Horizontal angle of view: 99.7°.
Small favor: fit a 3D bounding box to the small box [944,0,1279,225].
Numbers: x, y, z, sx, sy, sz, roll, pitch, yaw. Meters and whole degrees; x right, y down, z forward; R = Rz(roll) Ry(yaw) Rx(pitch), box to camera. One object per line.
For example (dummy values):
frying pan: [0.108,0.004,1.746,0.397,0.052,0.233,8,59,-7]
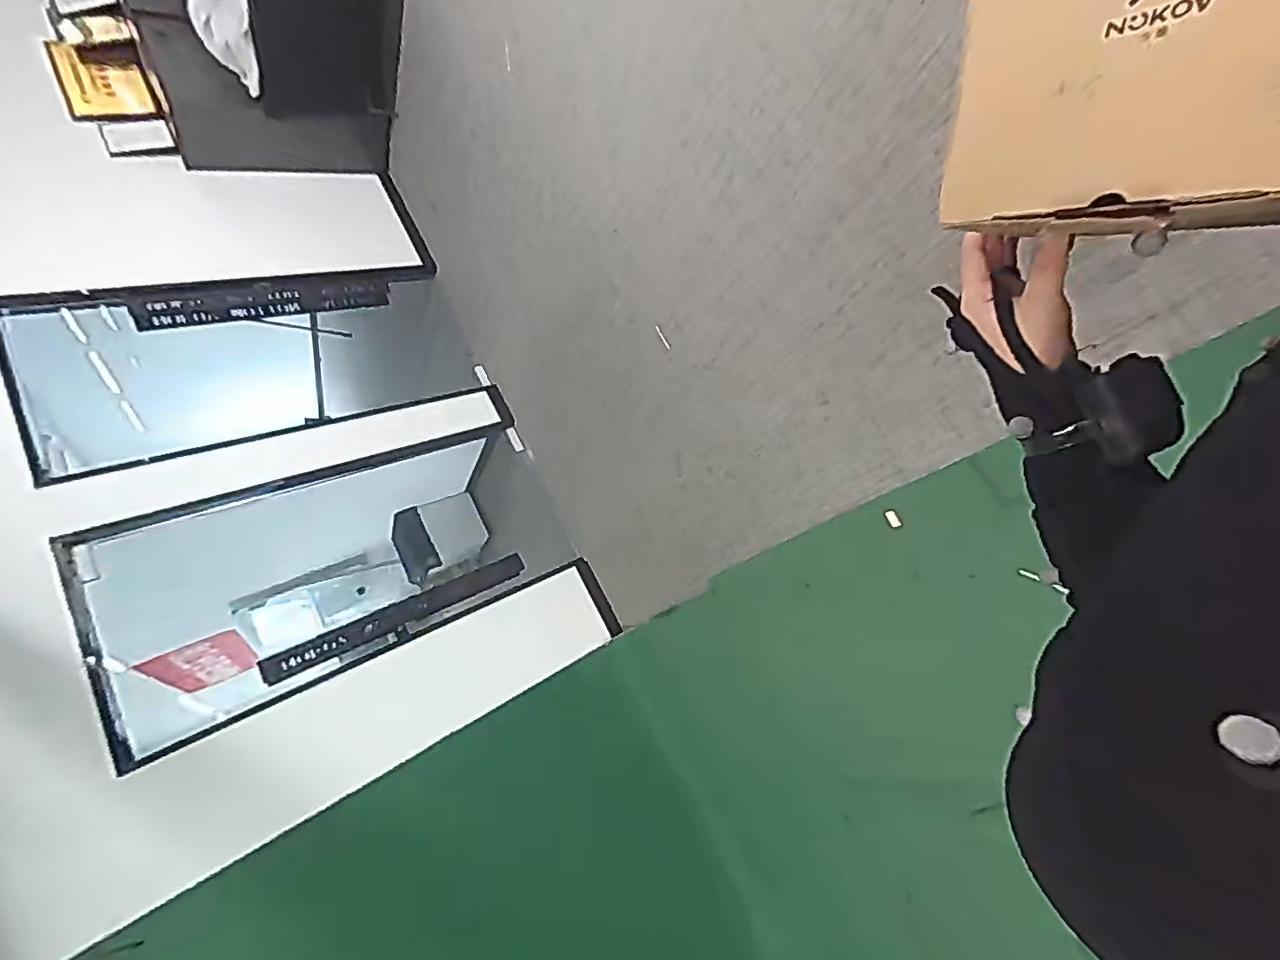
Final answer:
small box: [0.297,-0.238,0.287,0.168,0.176,0.179,23,122,49]
